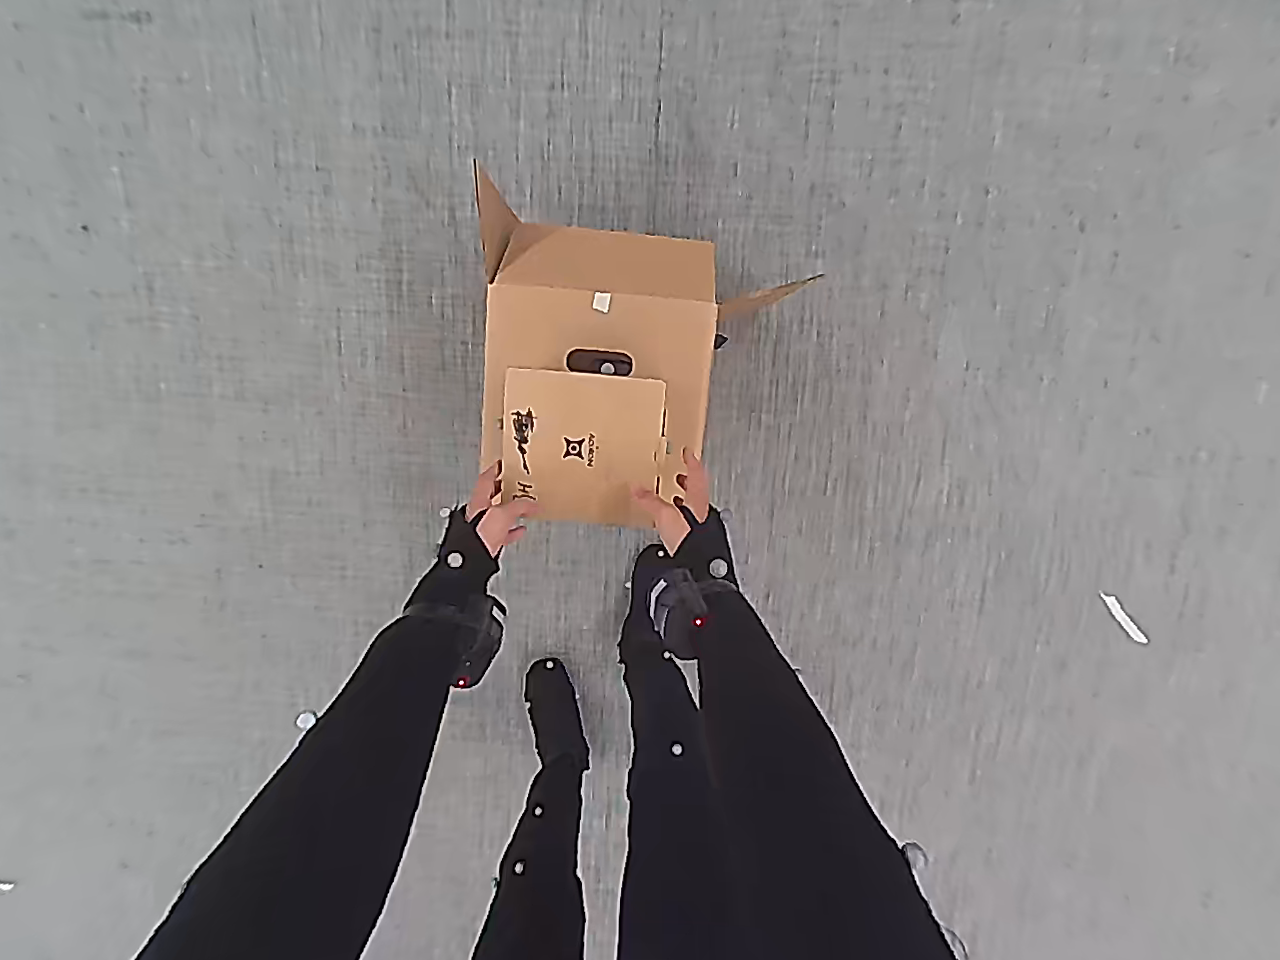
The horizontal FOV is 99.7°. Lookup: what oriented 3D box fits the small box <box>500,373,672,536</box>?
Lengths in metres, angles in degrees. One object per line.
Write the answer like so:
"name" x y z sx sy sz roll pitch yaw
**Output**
"small box" -0.060 -0.040 0.660 0.179 0.176 0.168 5 101 0
